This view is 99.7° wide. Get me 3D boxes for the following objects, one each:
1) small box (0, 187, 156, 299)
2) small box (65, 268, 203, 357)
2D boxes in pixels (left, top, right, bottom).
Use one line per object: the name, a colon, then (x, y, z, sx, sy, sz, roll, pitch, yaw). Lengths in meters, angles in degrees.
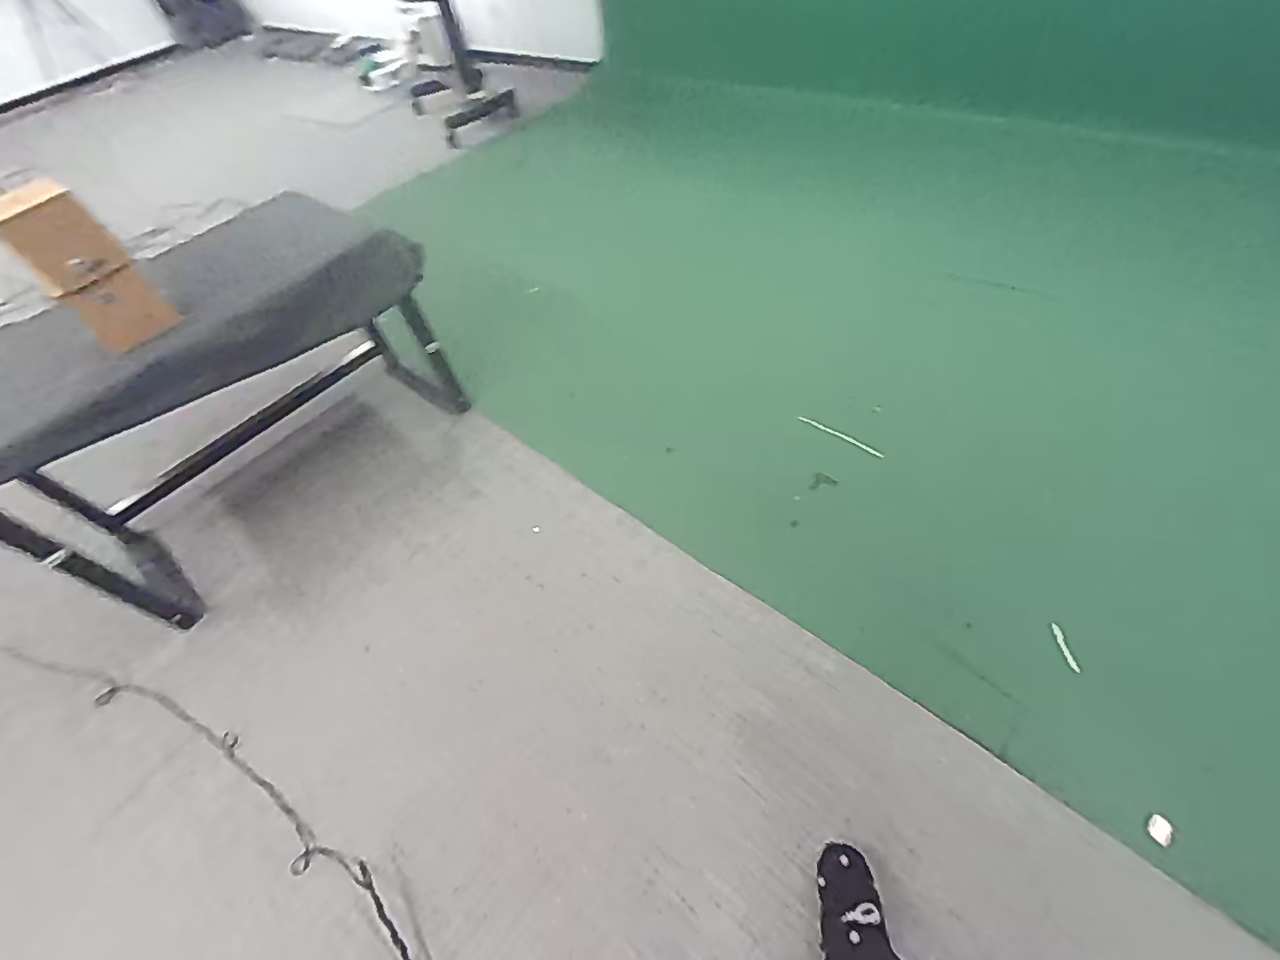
small box: (-1.296, -0.546, 1.253, 0.179, 0.176, 0.168, 26, 63, 26)
small box: (-1.281, -0.443, 1.378, 0.168, 0.176, 0.179, 30, 63, 30)
